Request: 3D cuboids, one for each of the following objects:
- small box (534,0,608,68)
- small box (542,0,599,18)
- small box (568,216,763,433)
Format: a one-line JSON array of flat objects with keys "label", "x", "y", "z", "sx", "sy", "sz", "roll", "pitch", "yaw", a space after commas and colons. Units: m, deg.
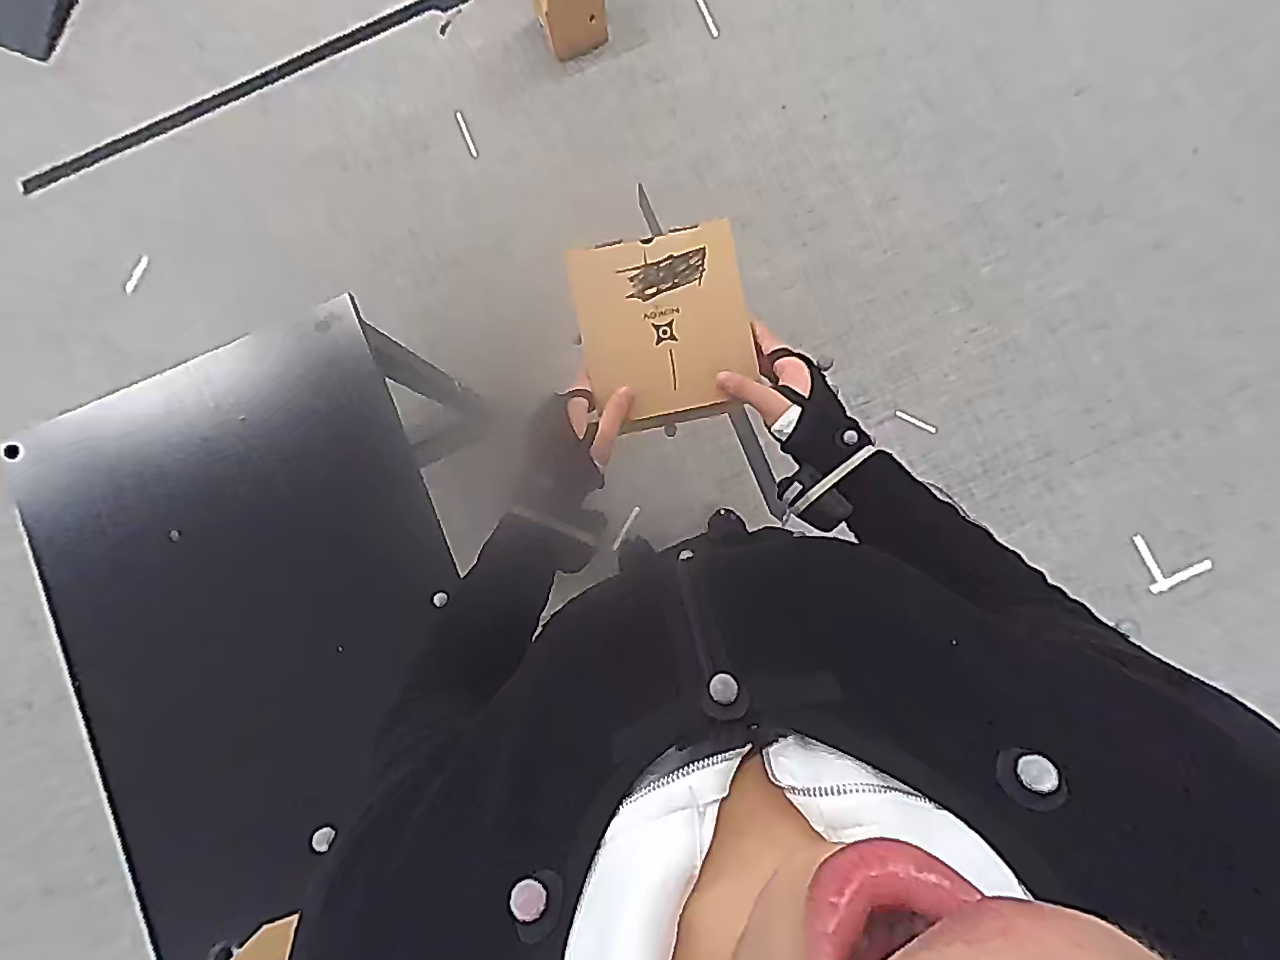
[{"label": "small box", "x": -0.200, "y": -1.354, "z": 1.561, "sx": 0.179, "sy": 0.176, "sz": 0.168, "roll": -24, "pitch": 84, "yaw": 2}, {"label": "small box", "x": -0.205, "y": -1.366, "z": 1.398, "sx": 0.168, "sy": 0.176, "sz": 0.179, "roll": -25, "pitch": 83, "yaw": 0}, {"label": "small box", "x": 0.023, "y": -0.157, "z": 0.604, "sx": 0.168, "sy": 0.176, "sz": 0.179, "roll": -12, "pitch": 91, "yaw": 1}]
